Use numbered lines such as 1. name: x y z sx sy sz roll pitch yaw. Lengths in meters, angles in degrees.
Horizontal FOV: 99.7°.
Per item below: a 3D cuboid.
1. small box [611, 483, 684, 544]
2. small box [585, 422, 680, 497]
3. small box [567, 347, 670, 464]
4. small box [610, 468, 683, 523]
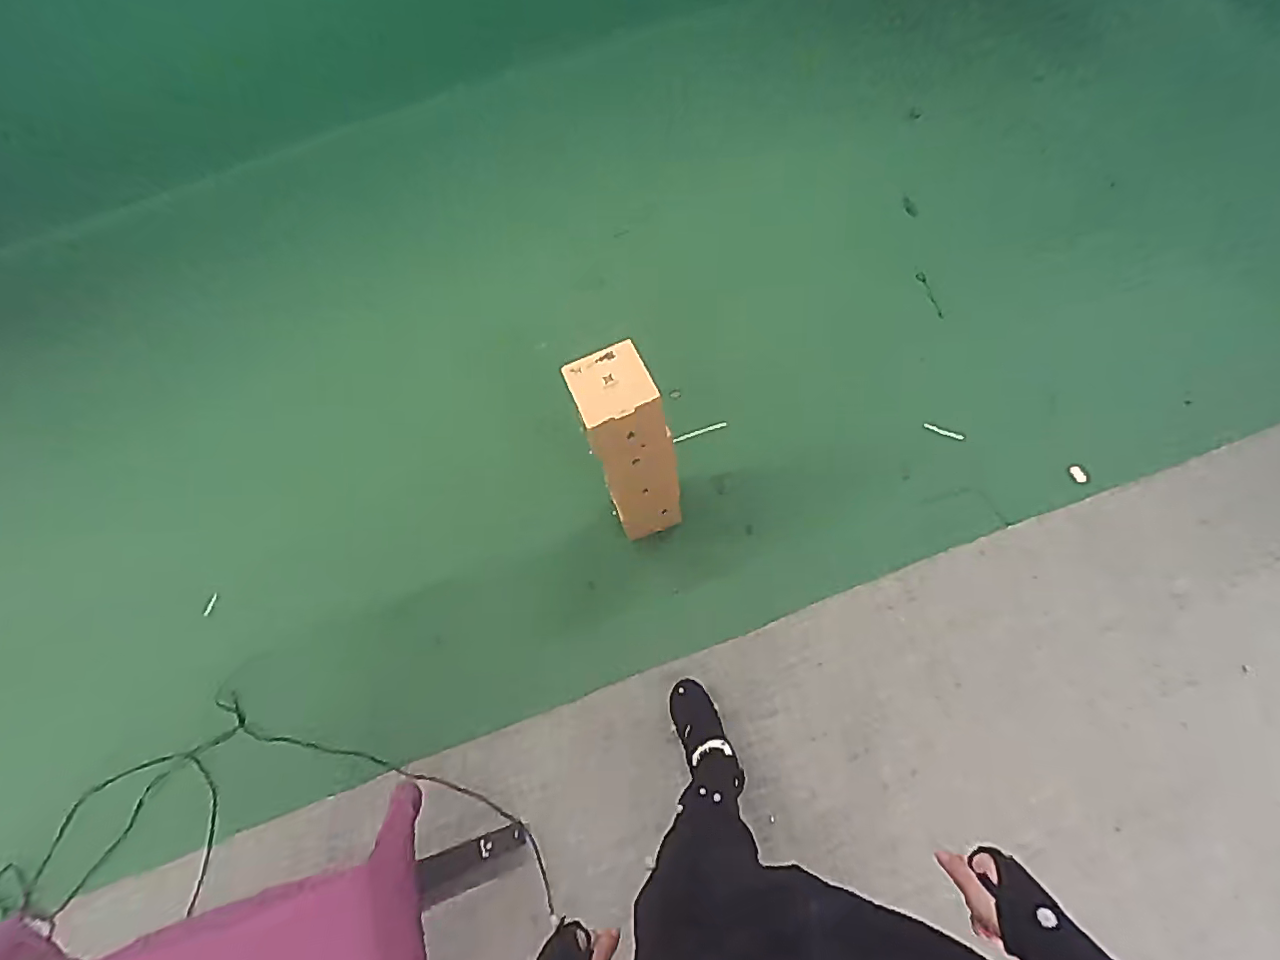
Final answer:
1. small box: 0.027 0.071 1.629 0.179 0.176 0.168 -21 62 -2
2. small box: -0.014 -0.082 1.344 0.179 0.176 0.168 -24 63 -5
3. small box: -0.042 -0.155 1.201 0.168 0.176 0.179 -23 63 -3
4. small box: 0.011 -0.007 1.488 0.179 0.176 0.168 -23 62 -3
